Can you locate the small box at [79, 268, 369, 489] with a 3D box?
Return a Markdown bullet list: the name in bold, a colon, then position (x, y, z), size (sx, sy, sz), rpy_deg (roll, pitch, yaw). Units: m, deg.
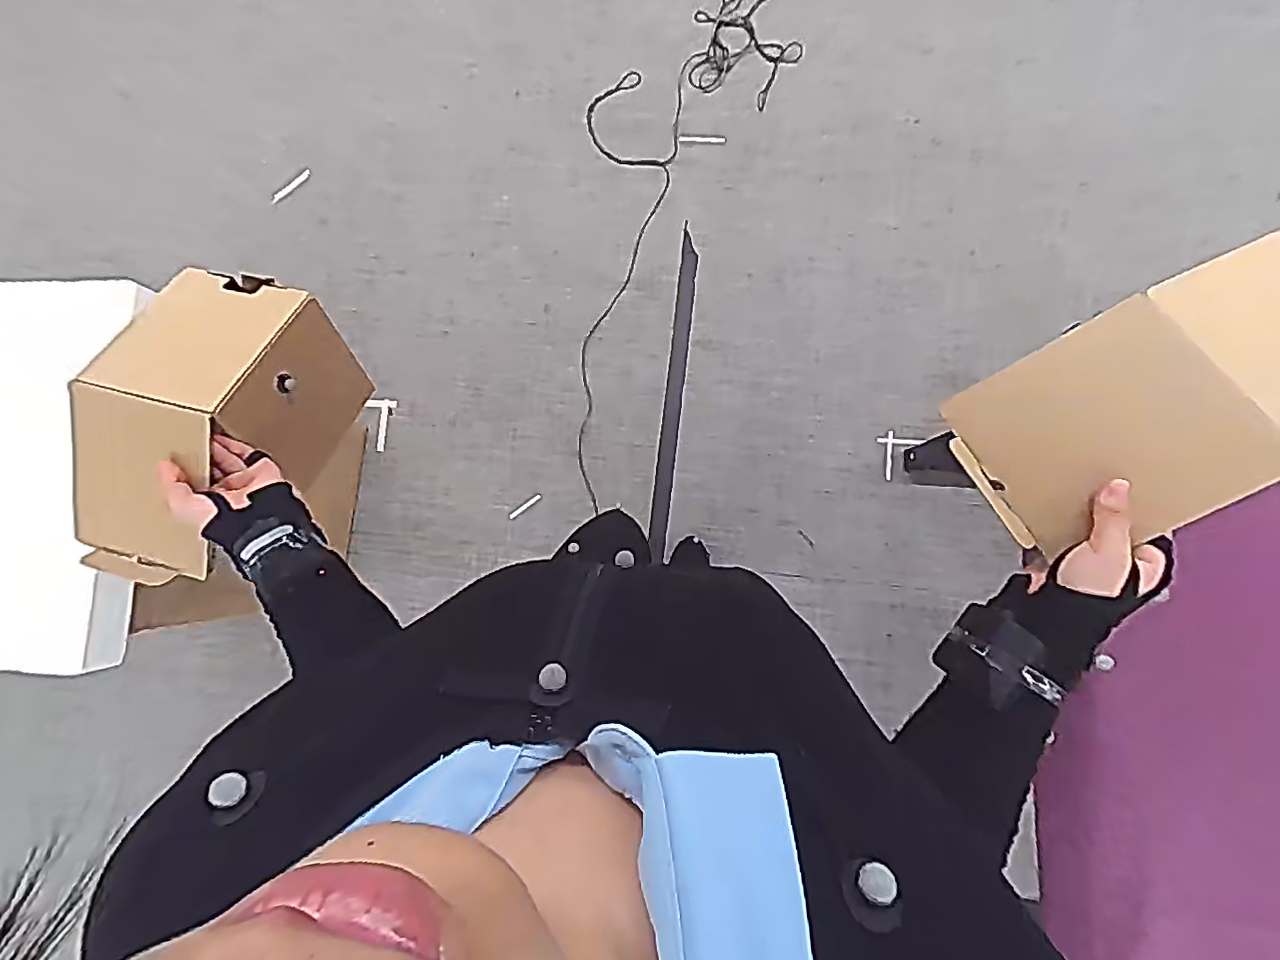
- **small box**: position (-0.458, -0.112, 0.635), size (0.168, 0.176, 0.179), rpy_deg (13, 60, 8)
